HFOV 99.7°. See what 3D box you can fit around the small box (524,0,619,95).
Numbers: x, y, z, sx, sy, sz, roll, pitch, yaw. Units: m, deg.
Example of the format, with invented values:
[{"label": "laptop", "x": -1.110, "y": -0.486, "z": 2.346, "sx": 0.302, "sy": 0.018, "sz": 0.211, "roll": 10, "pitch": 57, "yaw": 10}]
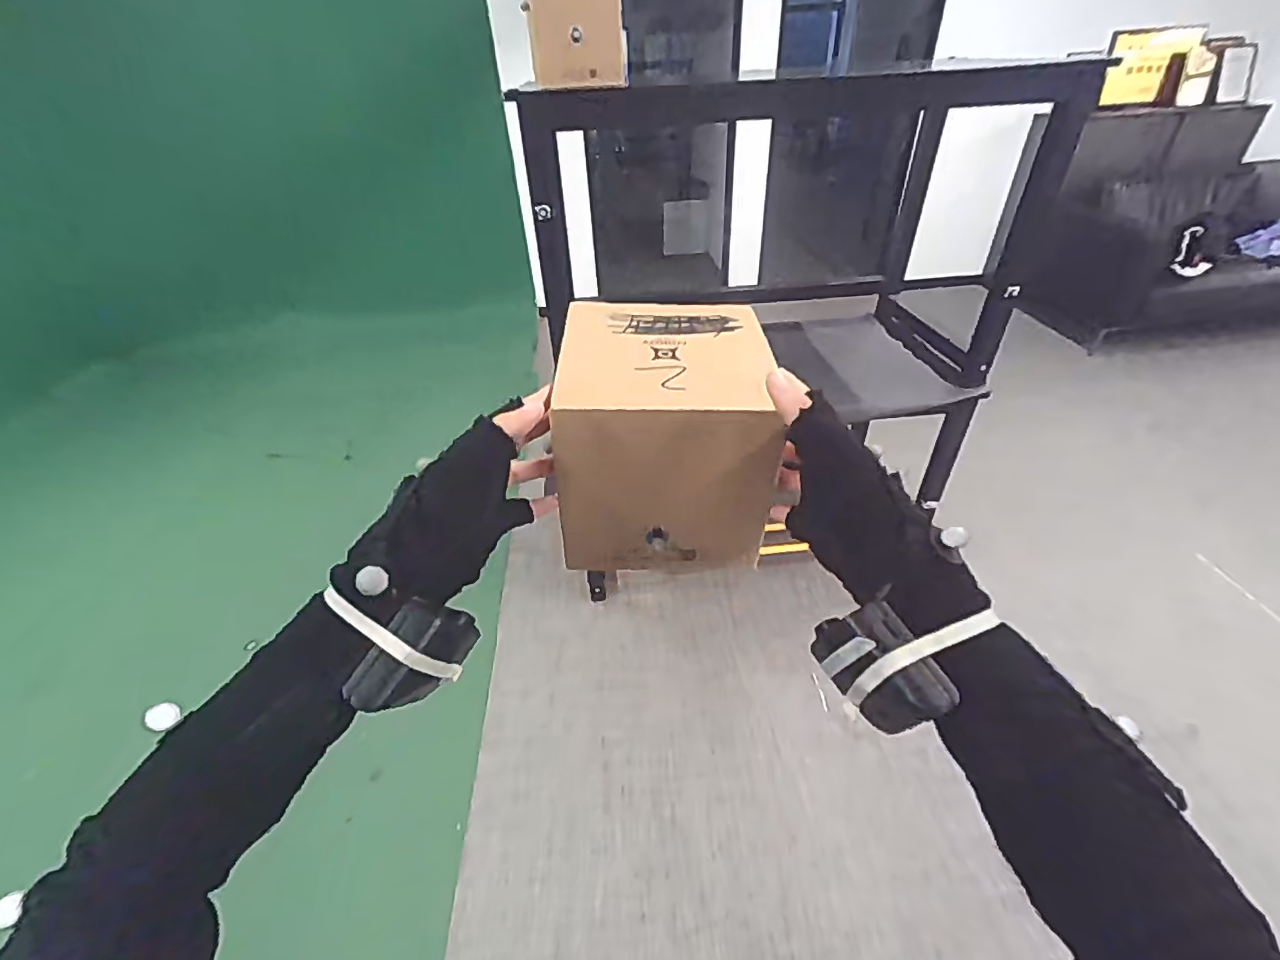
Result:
[{"label": "small box", "x": -0.139, "y": -0.888, "z": 1.095, "sx": 0.168, "sy": 0.176, "sz": 0.179, "roll": -9, "pitch": 37, "yaw": -9}]
